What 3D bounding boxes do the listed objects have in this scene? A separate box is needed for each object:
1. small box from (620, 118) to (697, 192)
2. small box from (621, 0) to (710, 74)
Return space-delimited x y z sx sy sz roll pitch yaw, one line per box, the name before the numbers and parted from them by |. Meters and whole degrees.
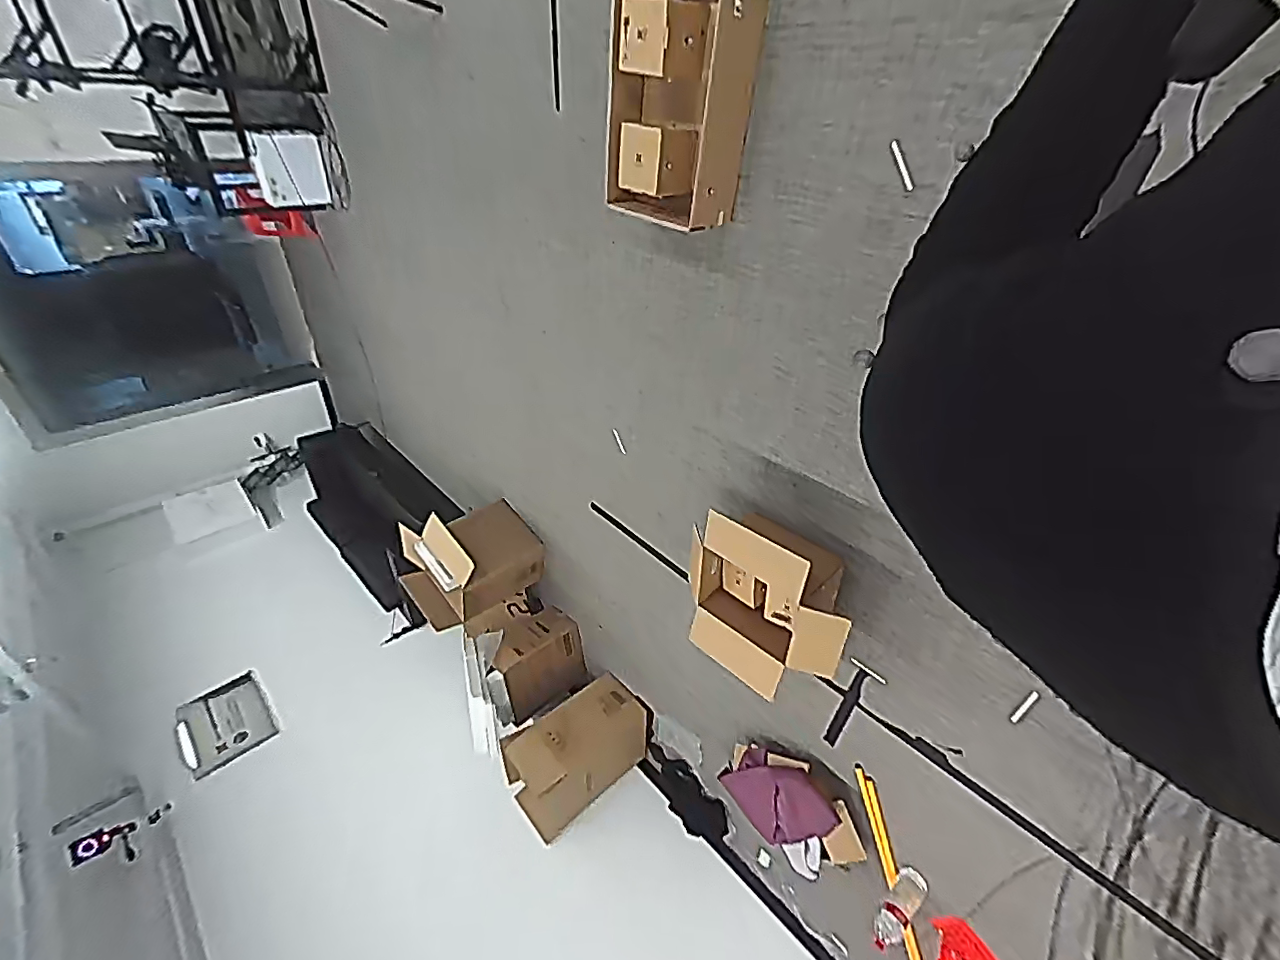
small box | 0.058 -1.001 1.665 0.168 0.176 0.179 33 133 32
small box | 0.070 -1.238 1.497 0.179 0.176 0.168 35 137 30
